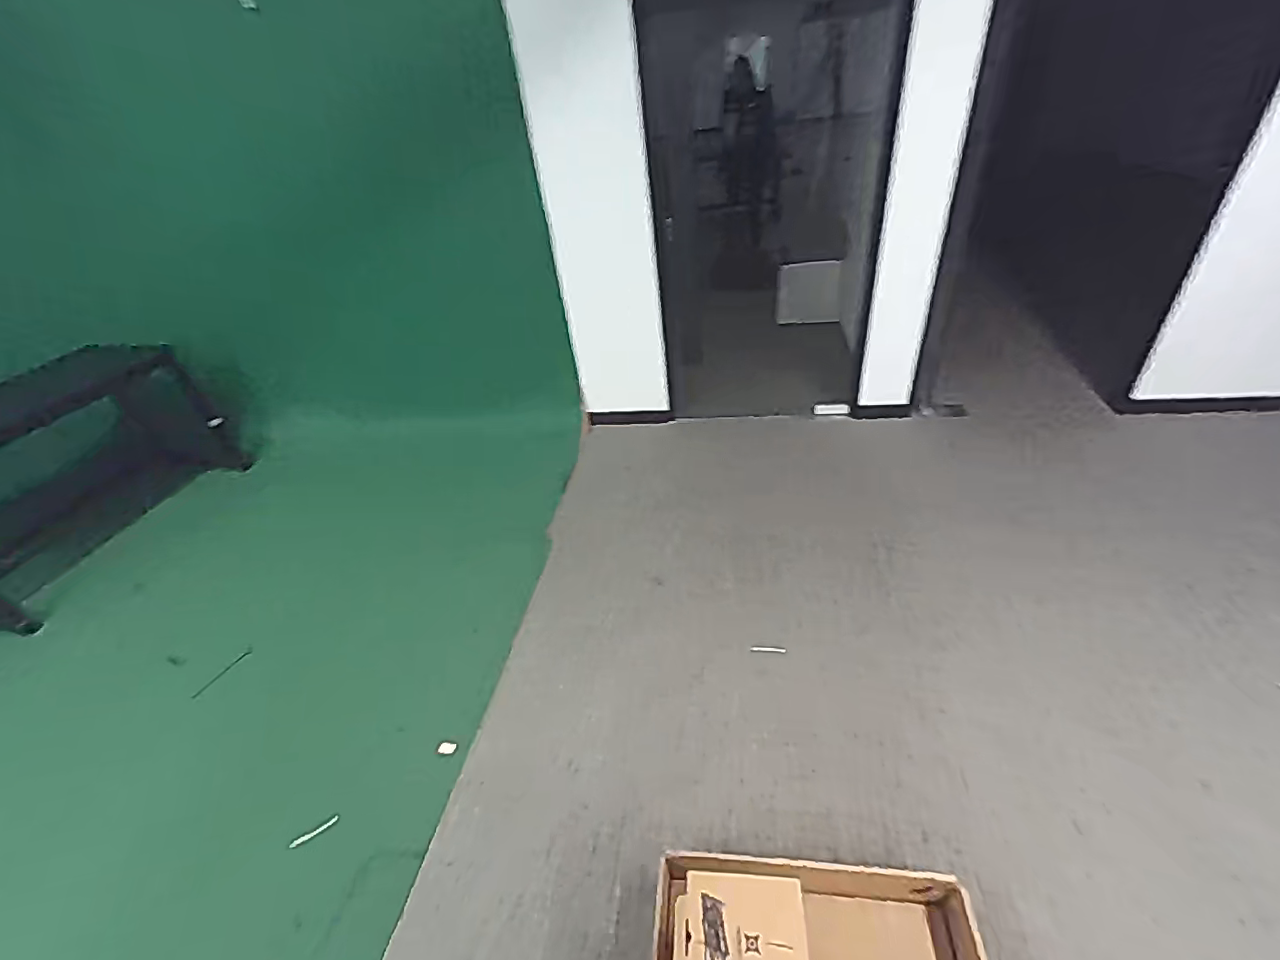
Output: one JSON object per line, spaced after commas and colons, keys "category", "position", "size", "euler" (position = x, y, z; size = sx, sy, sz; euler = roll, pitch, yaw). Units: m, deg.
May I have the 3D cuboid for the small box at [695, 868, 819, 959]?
{"category": "small box", "position": [0.178, 0.725, 0.830], "size": [0.179, 0.176, 0.168], "euler": [-2, 40, 8]}
